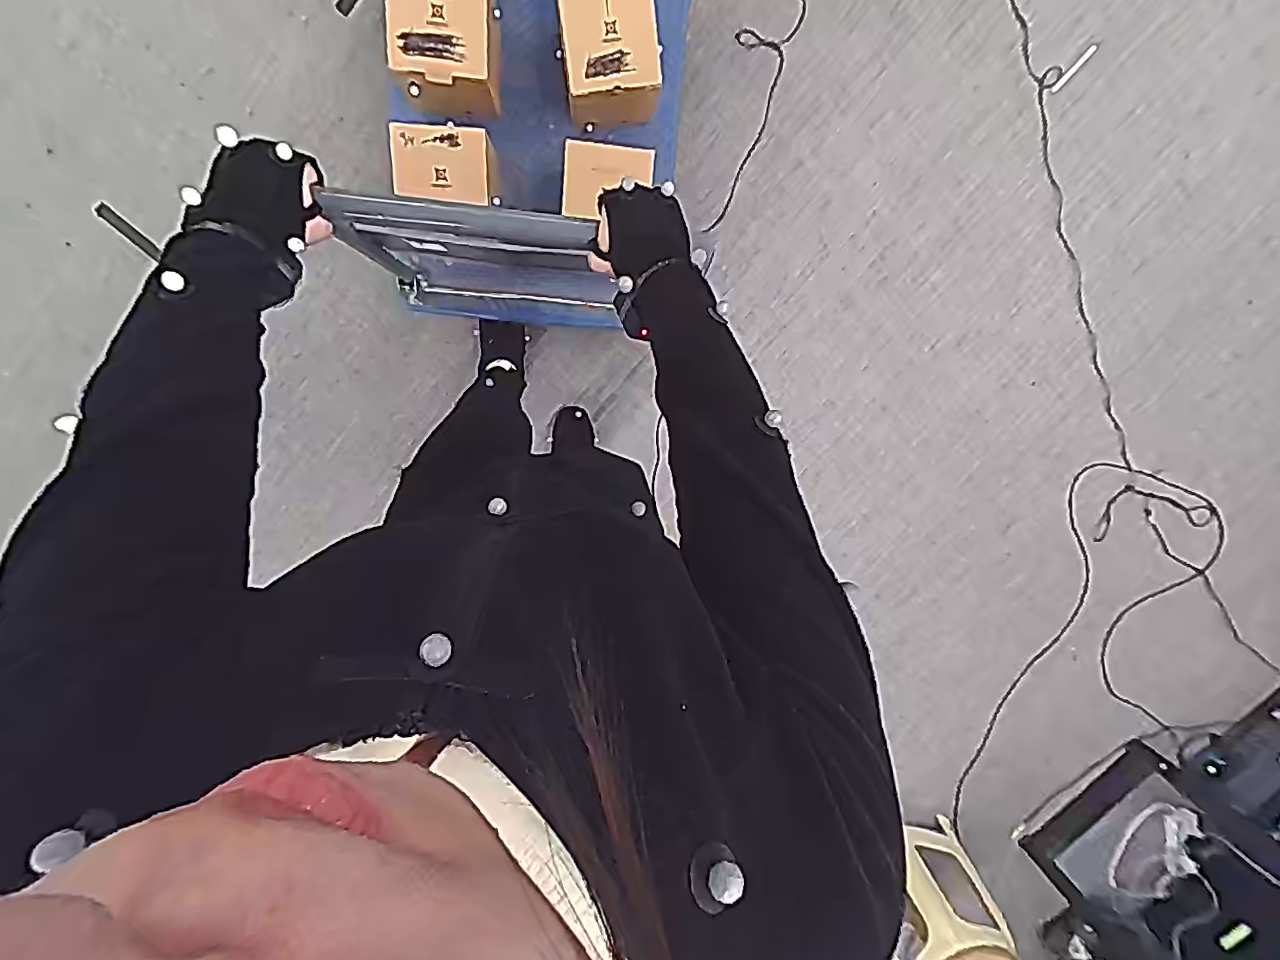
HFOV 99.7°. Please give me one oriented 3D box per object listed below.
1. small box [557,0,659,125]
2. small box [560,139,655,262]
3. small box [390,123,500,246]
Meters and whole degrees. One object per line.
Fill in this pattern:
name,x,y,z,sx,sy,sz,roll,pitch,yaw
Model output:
small box,-0.061,-0.797,1.021,0.168,0.176,0.179,-8,104,-4
small box,-0.070,-0.547,1.084,0.168,0.176,0.179,4,103,-8
small box,-0.366,-0.558,1.046,0.168,0.176,0.179,0,105,-7
